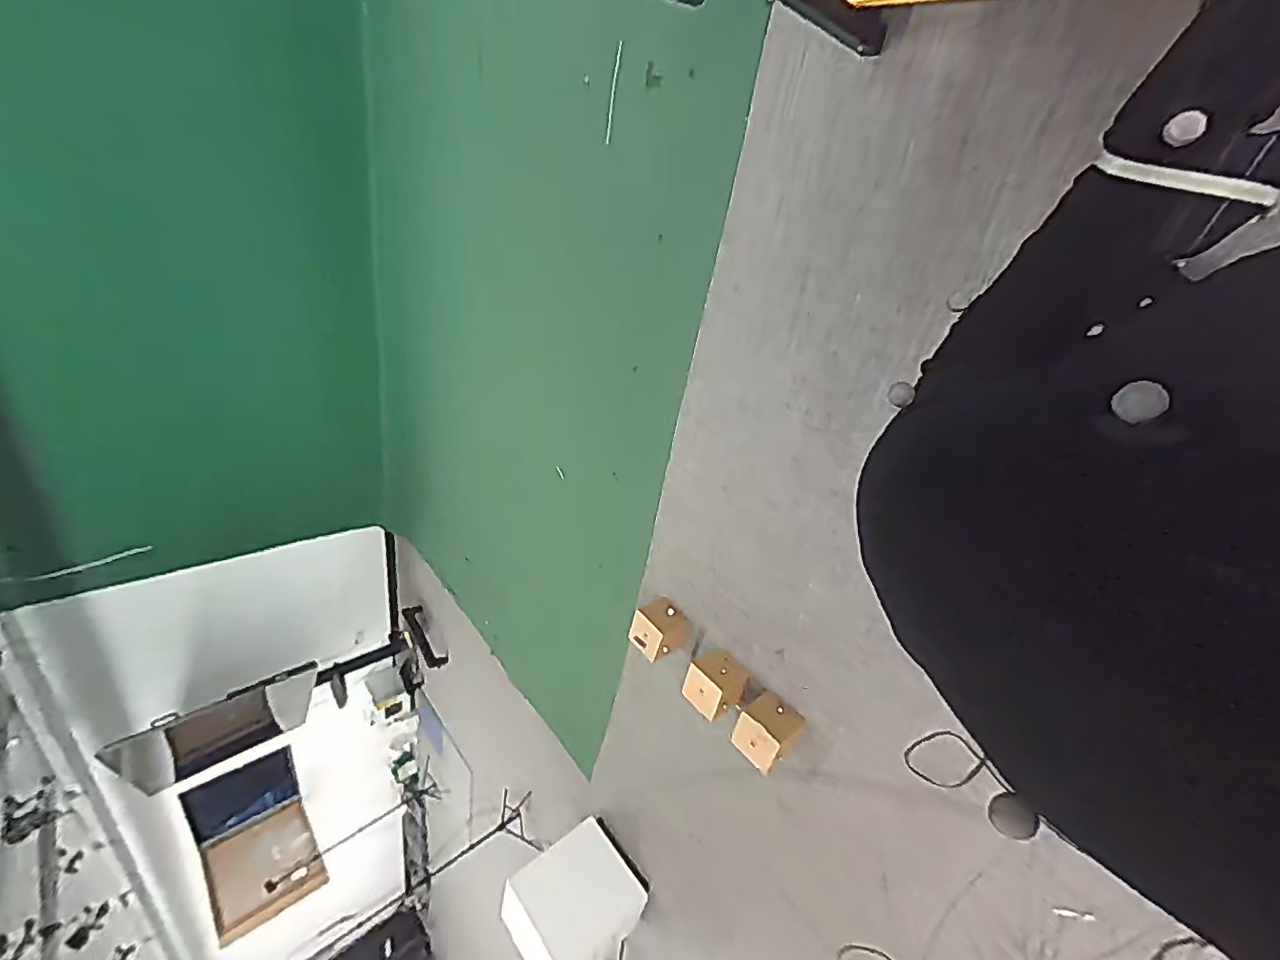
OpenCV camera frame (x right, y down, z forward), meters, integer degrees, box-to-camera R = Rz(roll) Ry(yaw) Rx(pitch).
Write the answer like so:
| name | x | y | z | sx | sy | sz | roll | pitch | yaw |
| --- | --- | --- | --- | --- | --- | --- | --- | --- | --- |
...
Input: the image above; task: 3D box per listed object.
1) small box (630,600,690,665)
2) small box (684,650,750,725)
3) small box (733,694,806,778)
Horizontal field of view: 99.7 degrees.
| name | x | y | z | sx | sy | sz | roll | pitch | yaw |
| --- | --- | --- | --- | --- | --- | --- | --- | --- | --- |
| small box | 0.089 | 0.638 | 2.278 | 0.168 | 0.176 | 0.179 | 39 | 126 | 35 |
| small box | 0.300 | 0.792 | 2.083 | 0.168 | 0.176 | 0.179 | 35 | 126 | 38 |
| small box | 0.463 | 0.907 | 1.924 | 0.168 | 0.176 | 0.179 | 35 | 125 | 37 |
